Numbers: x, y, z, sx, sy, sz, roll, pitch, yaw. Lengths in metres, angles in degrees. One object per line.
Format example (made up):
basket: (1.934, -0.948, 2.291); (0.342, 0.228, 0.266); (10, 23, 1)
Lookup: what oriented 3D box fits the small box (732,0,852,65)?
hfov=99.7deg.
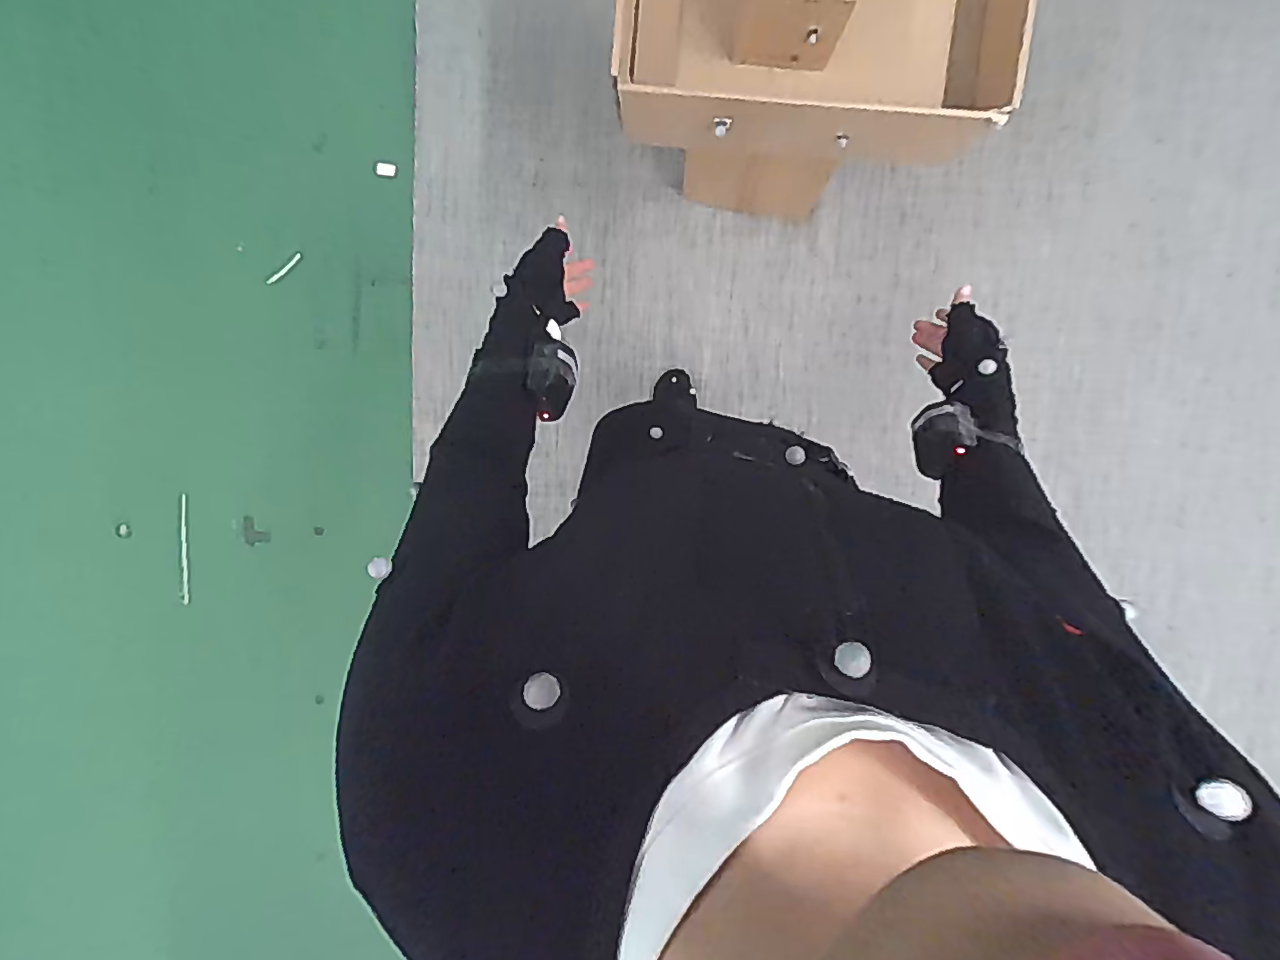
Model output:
small box: (0.243, -0.797, 0.845); (0.168, 0.176, 0.179); (5, 95, -1)
